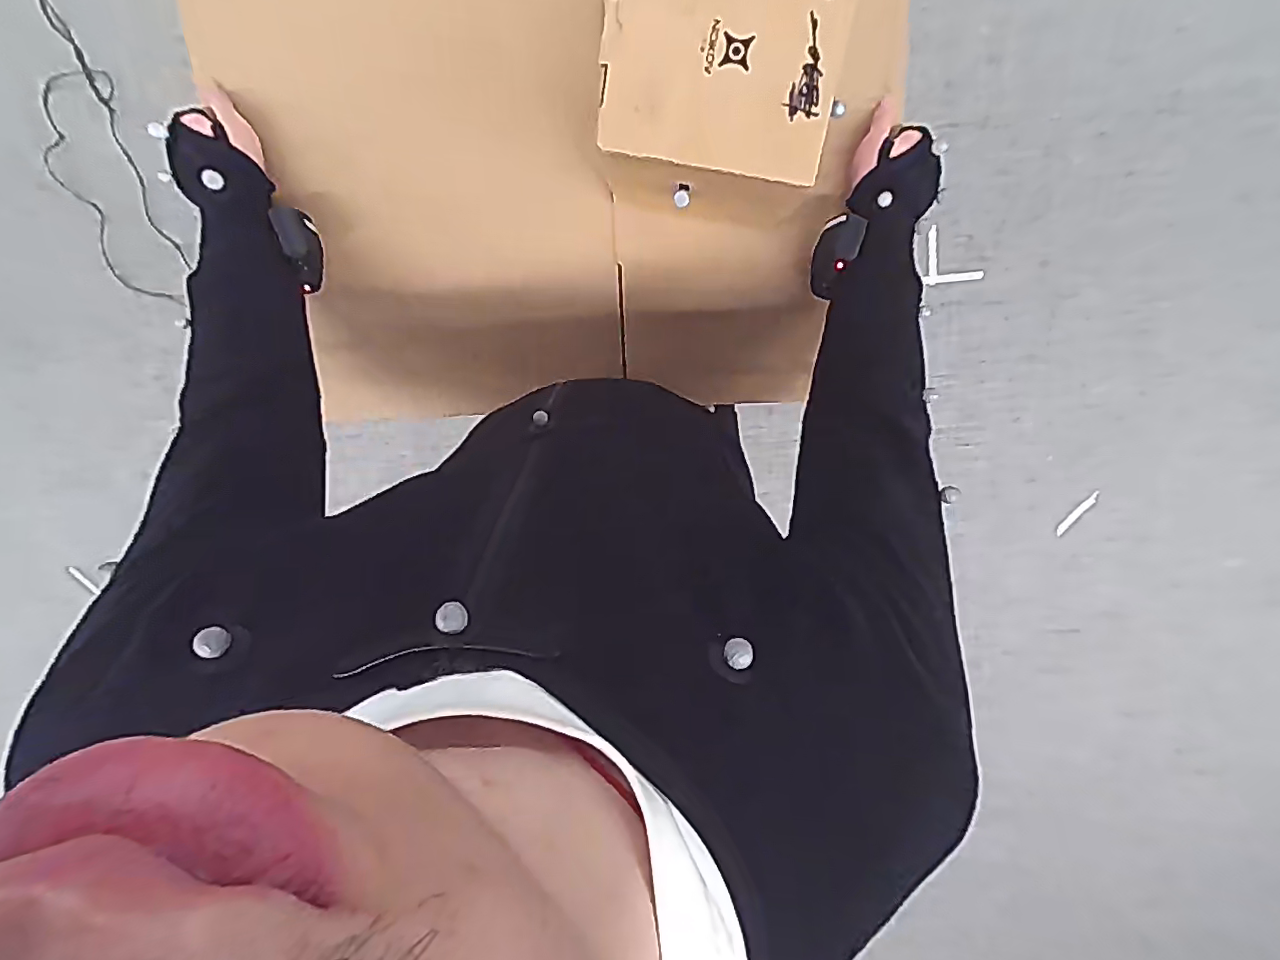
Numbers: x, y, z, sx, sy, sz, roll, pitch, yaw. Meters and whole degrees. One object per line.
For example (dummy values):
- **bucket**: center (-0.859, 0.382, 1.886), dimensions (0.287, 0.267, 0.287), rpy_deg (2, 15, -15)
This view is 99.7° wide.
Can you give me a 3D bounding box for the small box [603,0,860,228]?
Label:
- **small box**: center (0.077, -0.342, 0.488), dimensions (0.179, 0.176, 0.168), rpy_deg (11, 104, 3)
